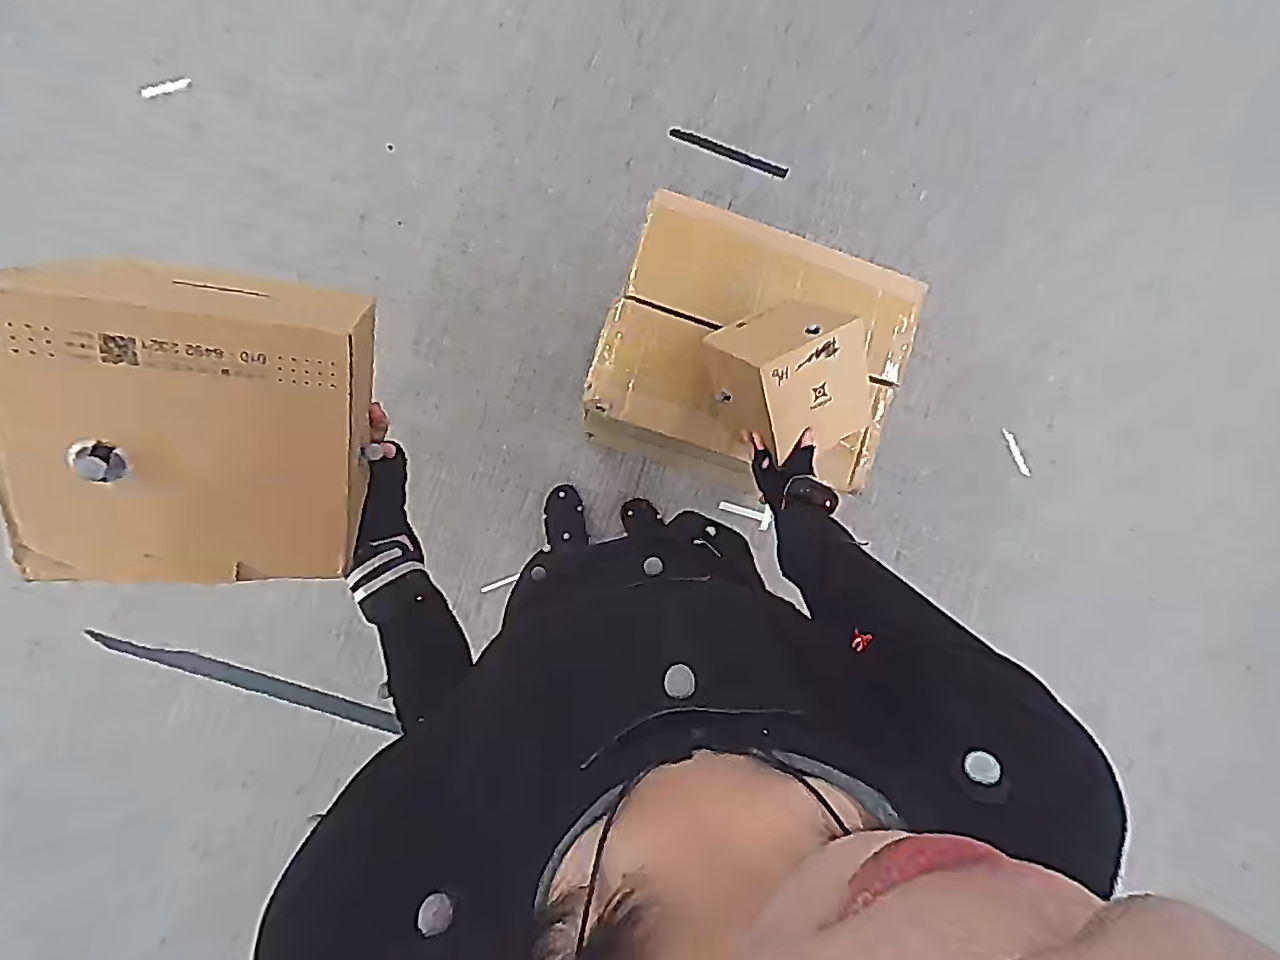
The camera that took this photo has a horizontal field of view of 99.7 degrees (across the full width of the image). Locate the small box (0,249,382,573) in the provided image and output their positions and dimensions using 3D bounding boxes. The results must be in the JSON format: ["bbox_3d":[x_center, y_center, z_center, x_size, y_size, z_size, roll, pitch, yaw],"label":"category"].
[{"bbox_3d":[-0.277,-0.054,0.372,0.168,0.179,0.176,5,113,-22],"label":"small box"}]

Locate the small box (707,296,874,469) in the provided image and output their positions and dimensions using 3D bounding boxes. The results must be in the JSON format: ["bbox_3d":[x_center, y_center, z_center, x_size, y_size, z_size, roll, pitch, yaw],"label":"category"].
[{"bbox_3d":[0.223,-0.152,0.811,0.168,0.176,0.179,-28,125,-8],"label":"small box"}]
